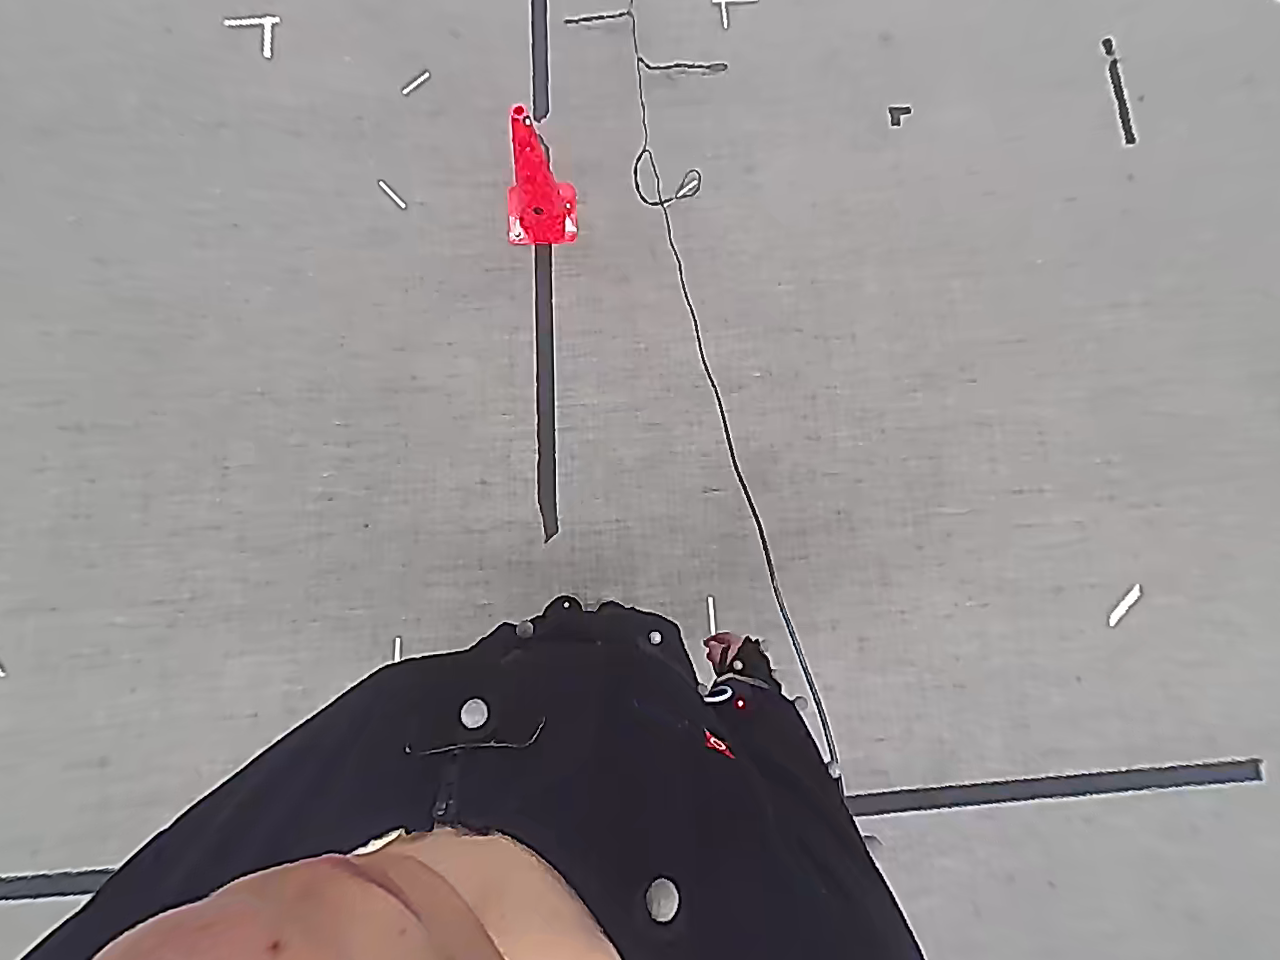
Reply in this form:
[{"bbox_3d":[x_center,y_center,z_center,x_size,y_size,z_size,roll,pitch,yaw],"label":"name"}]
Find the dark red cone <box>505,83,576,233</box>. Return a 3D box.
[{"bbox_3d":[-0.283,-0.837,1.407,0.201,0.394,0.202,-4,78,-3],"label":"dark red cone"}]
